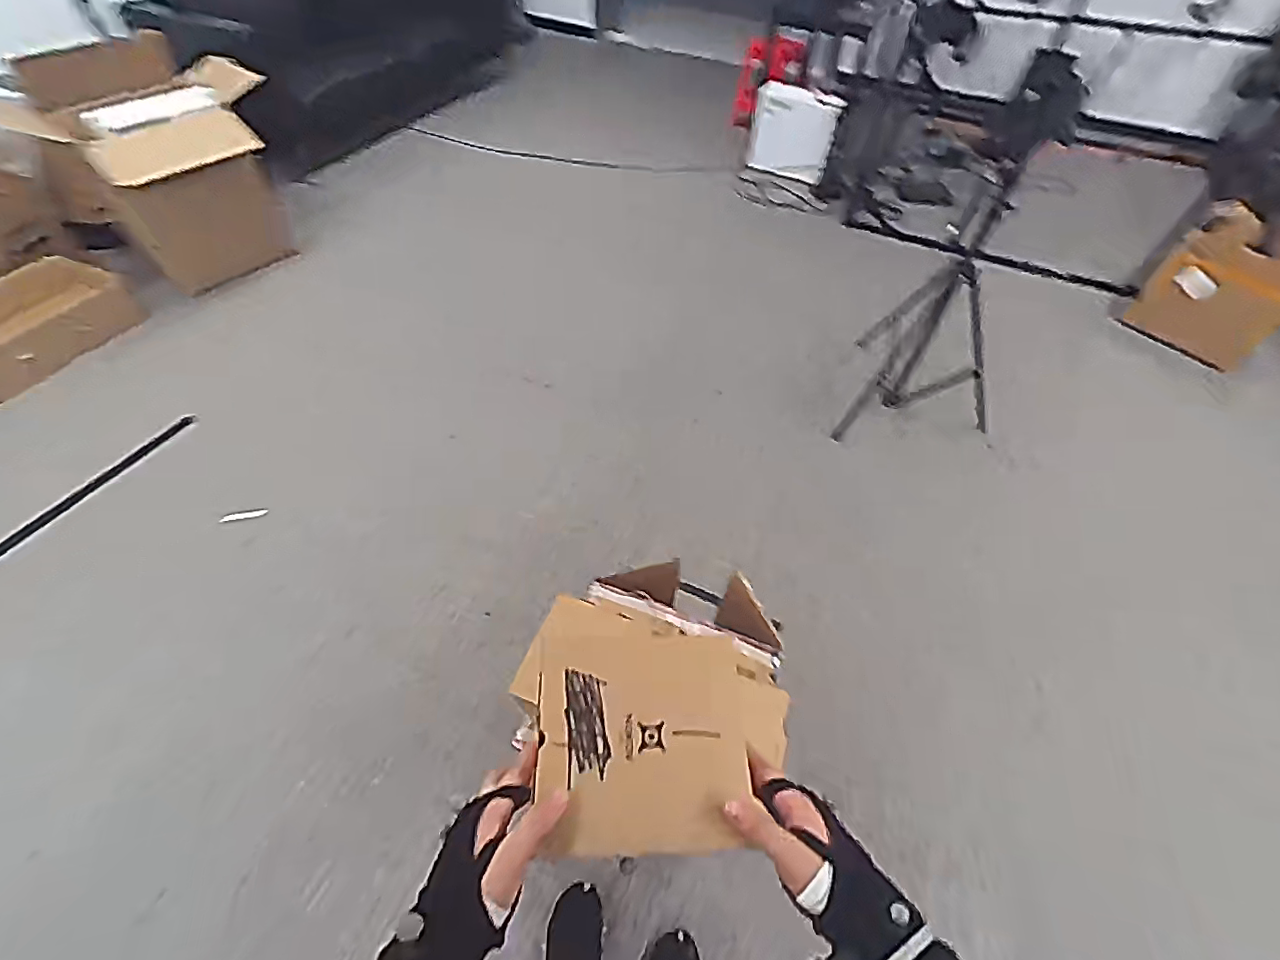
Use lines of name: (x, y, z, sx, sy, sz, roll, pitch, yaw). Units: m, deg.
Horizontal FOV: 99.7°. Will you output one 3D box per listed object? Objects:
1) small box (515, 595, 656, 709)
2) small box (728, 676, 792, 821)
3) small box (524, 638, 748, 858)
small box: (-0.081, 0.326, 0.901, 0.168, 0.176, 0.179, 18, 58, 14)
small box: (0.117, 0.410, 0.844, 0.179, 0.176, 0.168, 16, 57, 9)
small box: (-0.009, 0.260, 0.522, 0.179, 0.176, 0.168, -1, 58, -5)
